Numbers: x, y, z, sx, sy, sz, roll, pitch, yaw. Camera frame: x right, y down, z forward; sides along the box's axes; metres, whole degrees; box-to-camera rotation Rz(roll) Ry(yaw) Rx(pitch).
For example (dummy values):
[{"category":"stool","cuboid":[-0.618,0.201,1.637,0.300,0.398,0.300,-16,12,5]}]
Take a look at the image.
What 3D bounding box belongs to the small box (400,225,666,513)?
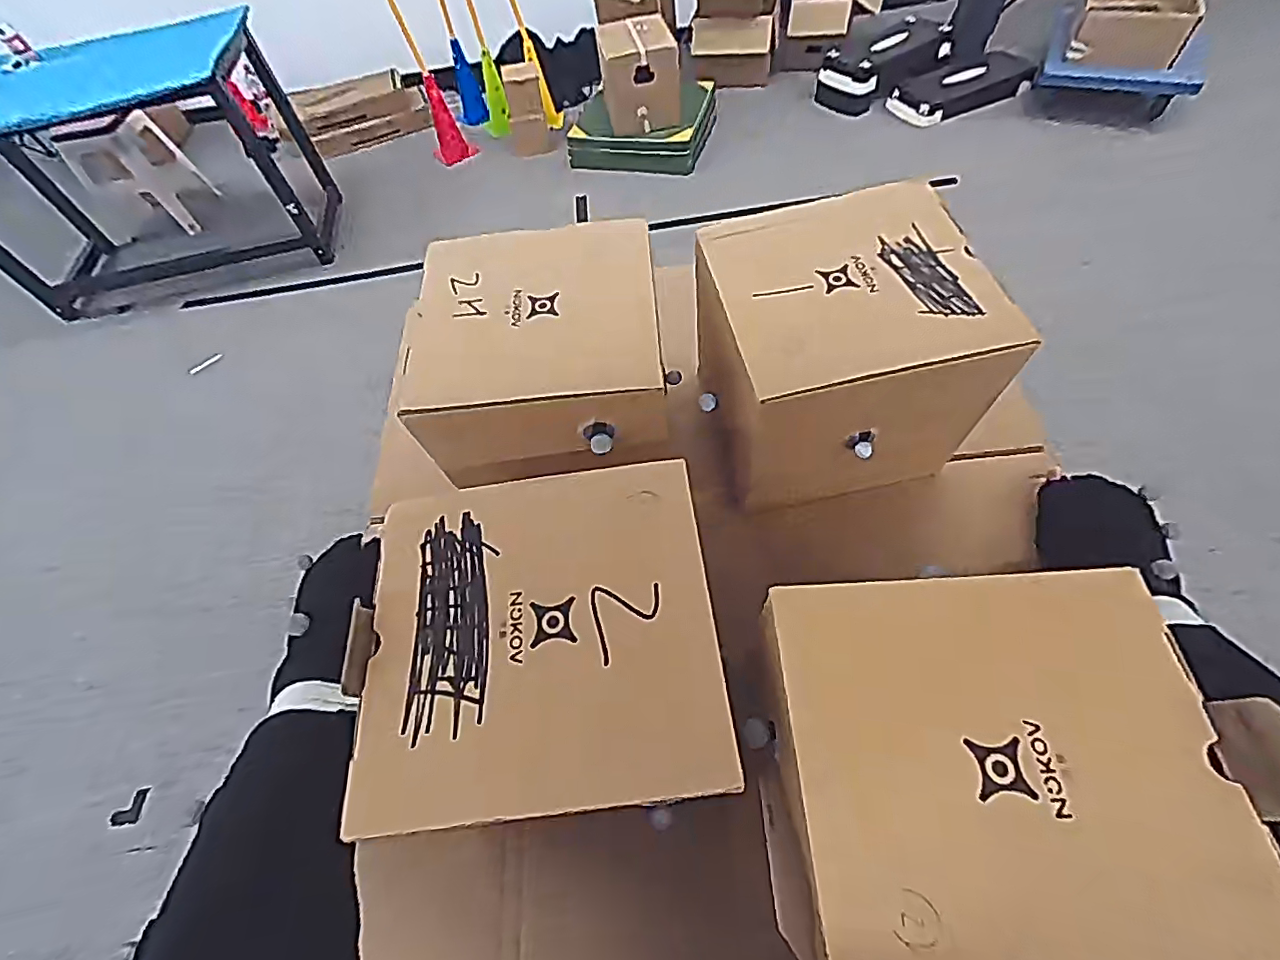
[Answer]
[{"category":"small box","cuboid":[-0.070,-0.083,0.462,0.179,0.176,0.168,-6,61,4]}]
